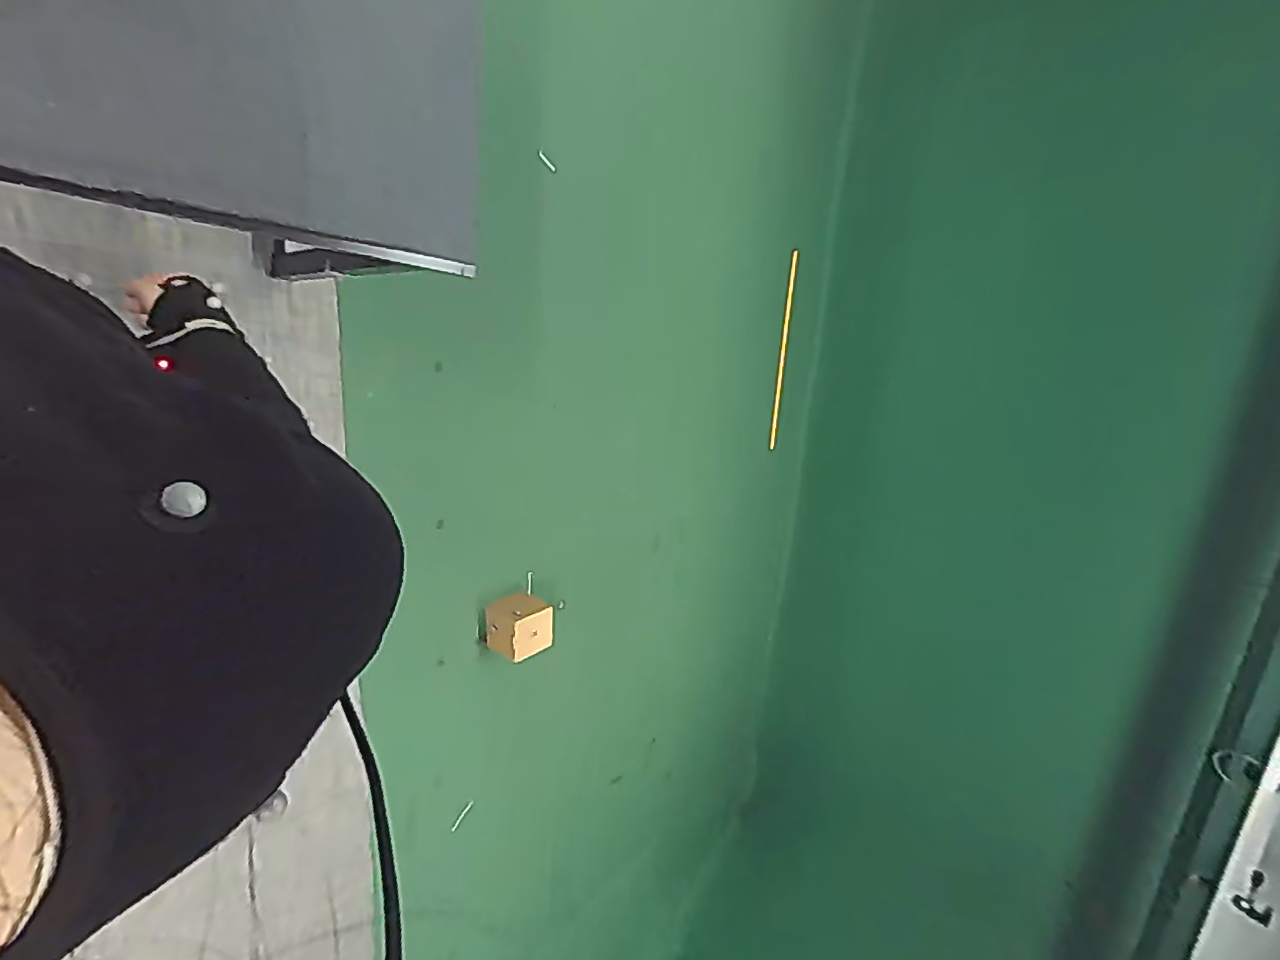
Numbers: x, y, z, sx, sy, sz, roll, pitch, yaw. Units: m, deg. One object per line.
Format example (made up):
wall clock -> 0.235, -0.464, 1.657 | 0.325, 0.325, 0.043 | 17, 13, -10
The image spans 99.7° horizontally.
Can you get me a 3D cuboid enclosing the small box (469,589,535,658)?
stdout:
small box -> -0.511, 0.522, 2.003 | 0.179, 0.176, 0.168 | -14, 113, -50
